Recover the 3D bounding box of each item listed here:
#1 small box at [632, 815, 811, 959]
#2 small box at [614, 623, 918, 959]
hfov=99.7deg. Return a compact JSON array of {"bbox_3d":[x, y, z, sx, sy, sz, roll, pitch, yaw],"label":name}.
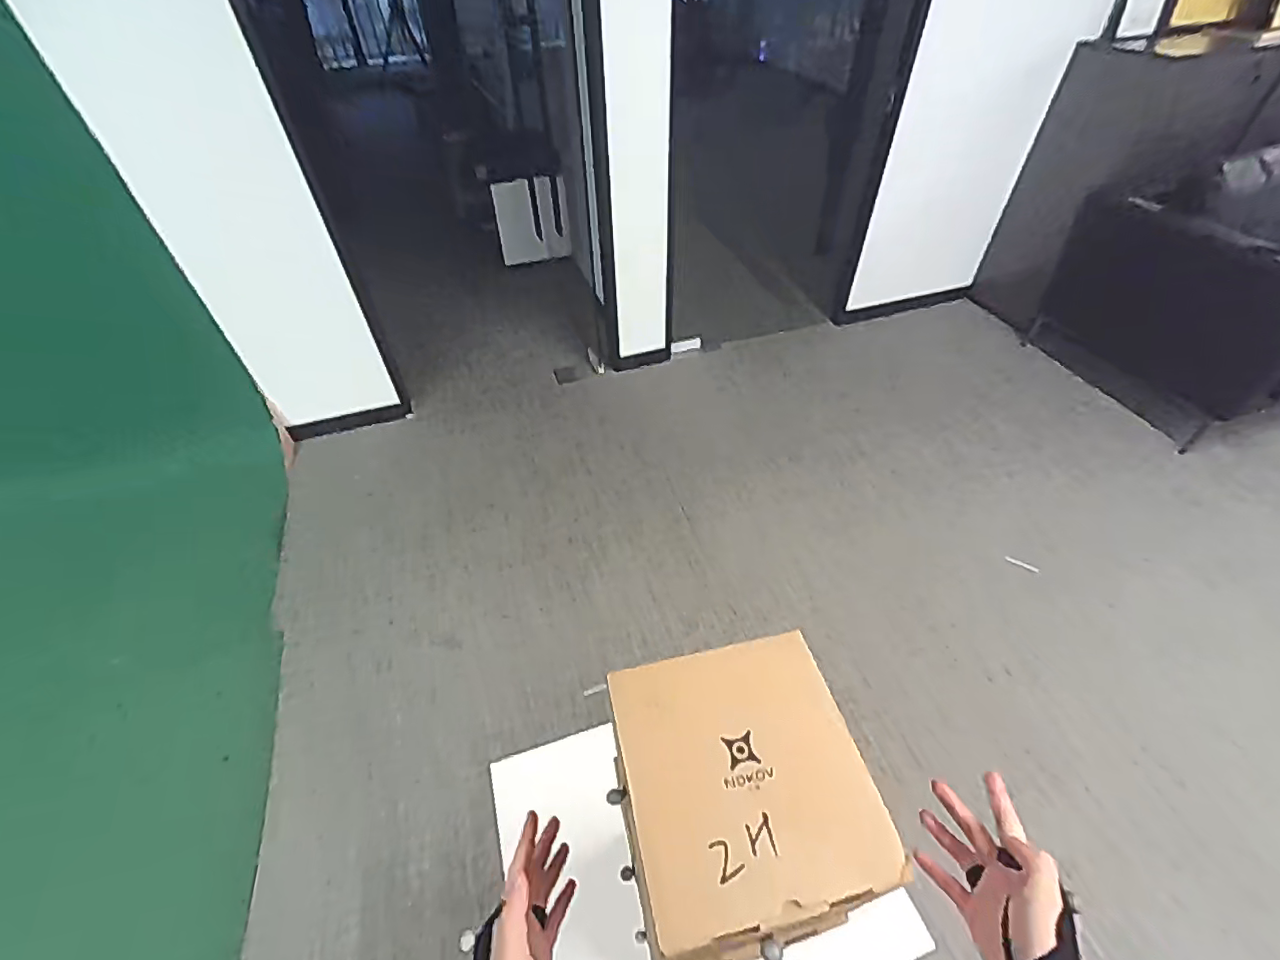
[{"bbox_3d":[0.084,0.479,0.668,0.168,0.176,0.179,-10,46,-8],"label":"small box"},{"bbox_3d":[0.076,0.247,0.435,0.168,0.176,0.179,-11,46,-8],"label":"small box"}]
